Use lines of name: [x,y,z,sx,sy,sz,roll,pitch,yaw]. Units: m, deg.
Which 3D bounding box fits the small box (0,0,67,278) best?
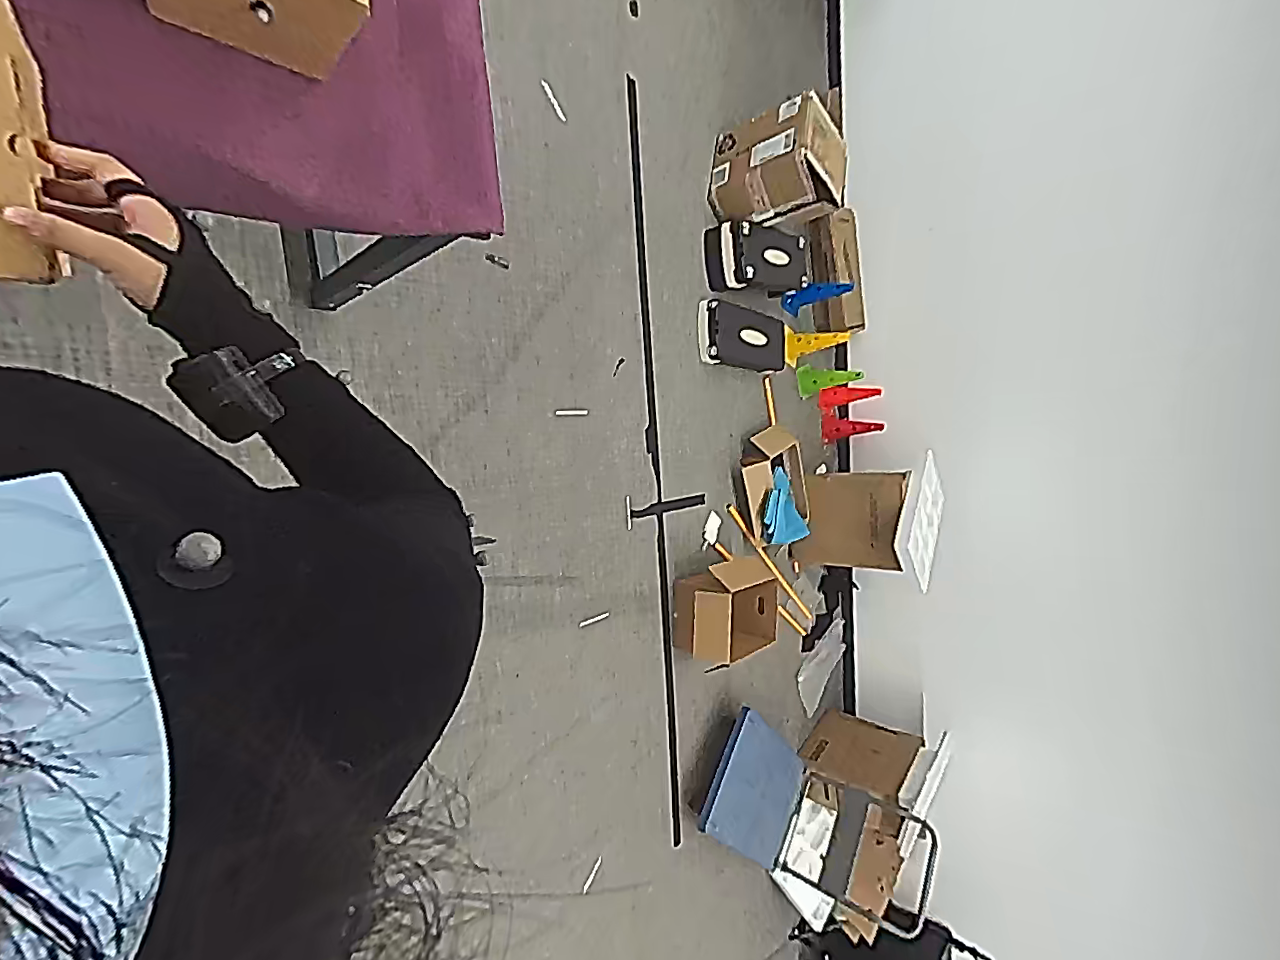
small box: [-0.503,-0.225,0.342,0.179,0.176,0.168,-10,113,-44]
